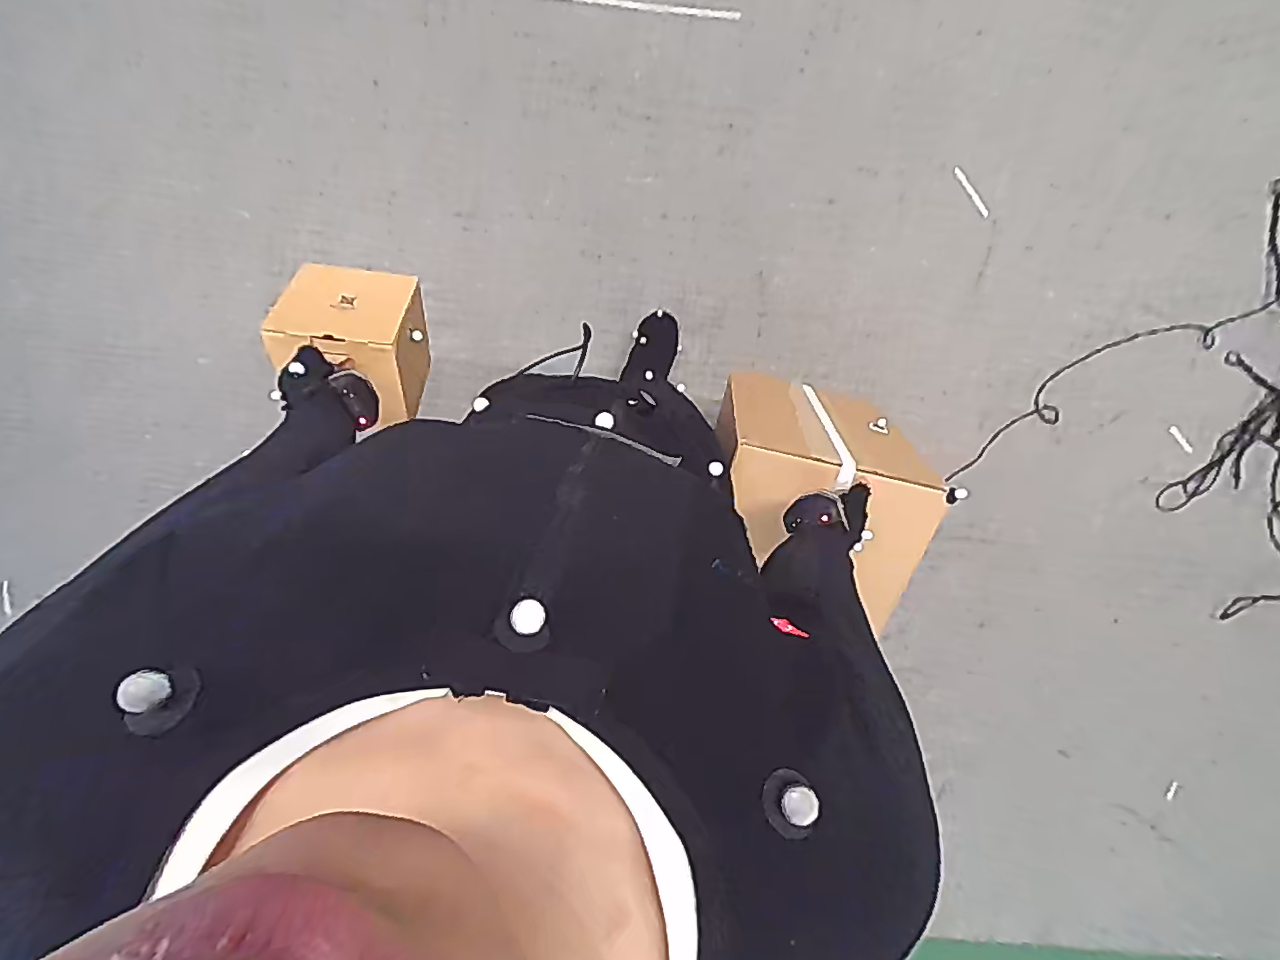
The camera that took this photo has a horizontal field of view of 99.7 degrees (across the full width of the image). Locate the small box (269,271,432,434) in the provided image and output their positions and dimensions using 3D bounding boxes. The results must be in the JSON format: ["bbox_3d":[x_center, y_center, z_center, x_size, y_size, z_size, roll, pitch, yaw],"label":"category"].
[{"bbox_3d":[-0.429,-0.195,0.838,0.168,0.179,0.176,3,139,-9],"label":"small box"}]
